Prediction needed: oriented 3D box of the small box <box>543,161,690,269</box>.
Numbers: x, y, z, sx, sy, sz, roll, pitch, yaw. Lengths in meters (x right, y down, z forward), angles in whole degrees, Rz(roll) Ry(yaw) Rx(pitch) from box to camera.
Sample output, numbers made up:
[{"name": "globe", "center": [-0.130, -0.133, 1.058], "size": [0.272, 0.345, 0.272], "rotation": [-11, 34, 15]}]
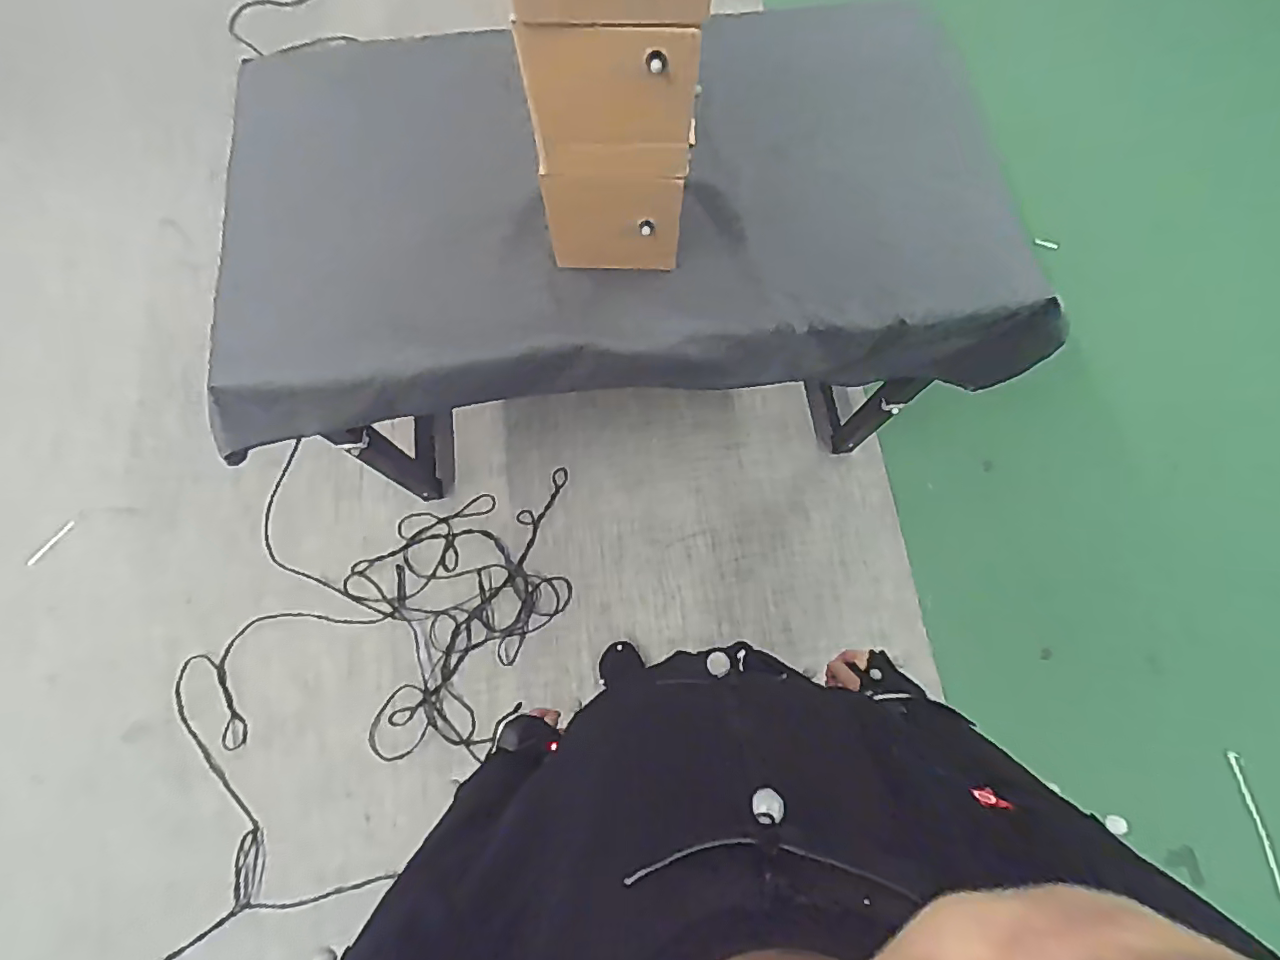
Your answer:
[{"name": "small box", "center": [-0.027, -0.410, 0.741], "size": [0.179, 0.176, 0.168], "rotation": [1, 72, 1]}]

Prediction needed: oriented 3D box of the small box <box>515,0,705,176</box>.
[{"name": "small box", "center": [-0.025, -0.461, 0.586], "size": [0.179, 0.176, 0.168], "rotation": [2, 73, -1]}]
